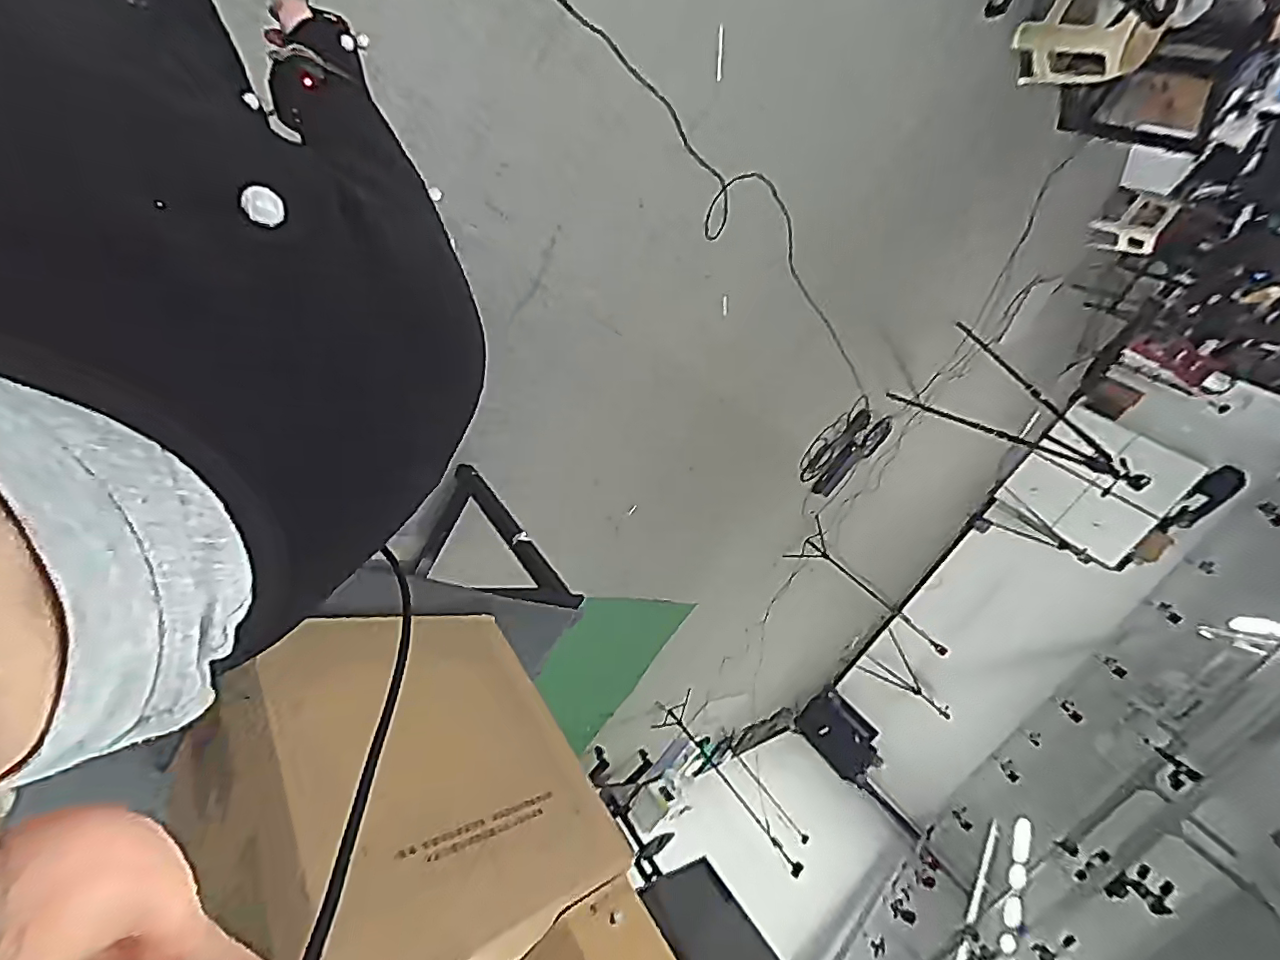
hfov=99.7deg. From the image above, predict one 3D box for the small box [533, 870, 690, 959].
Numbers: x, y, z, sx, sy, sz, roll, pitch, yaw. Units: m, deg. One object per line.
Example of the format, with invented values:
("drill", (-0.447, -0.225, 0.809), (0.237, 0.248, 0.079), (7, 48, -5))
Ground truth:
("small box", (-0.053, 0.798, 0.887), (0.168, 0.176, 0.179), (17, 110, -54))
